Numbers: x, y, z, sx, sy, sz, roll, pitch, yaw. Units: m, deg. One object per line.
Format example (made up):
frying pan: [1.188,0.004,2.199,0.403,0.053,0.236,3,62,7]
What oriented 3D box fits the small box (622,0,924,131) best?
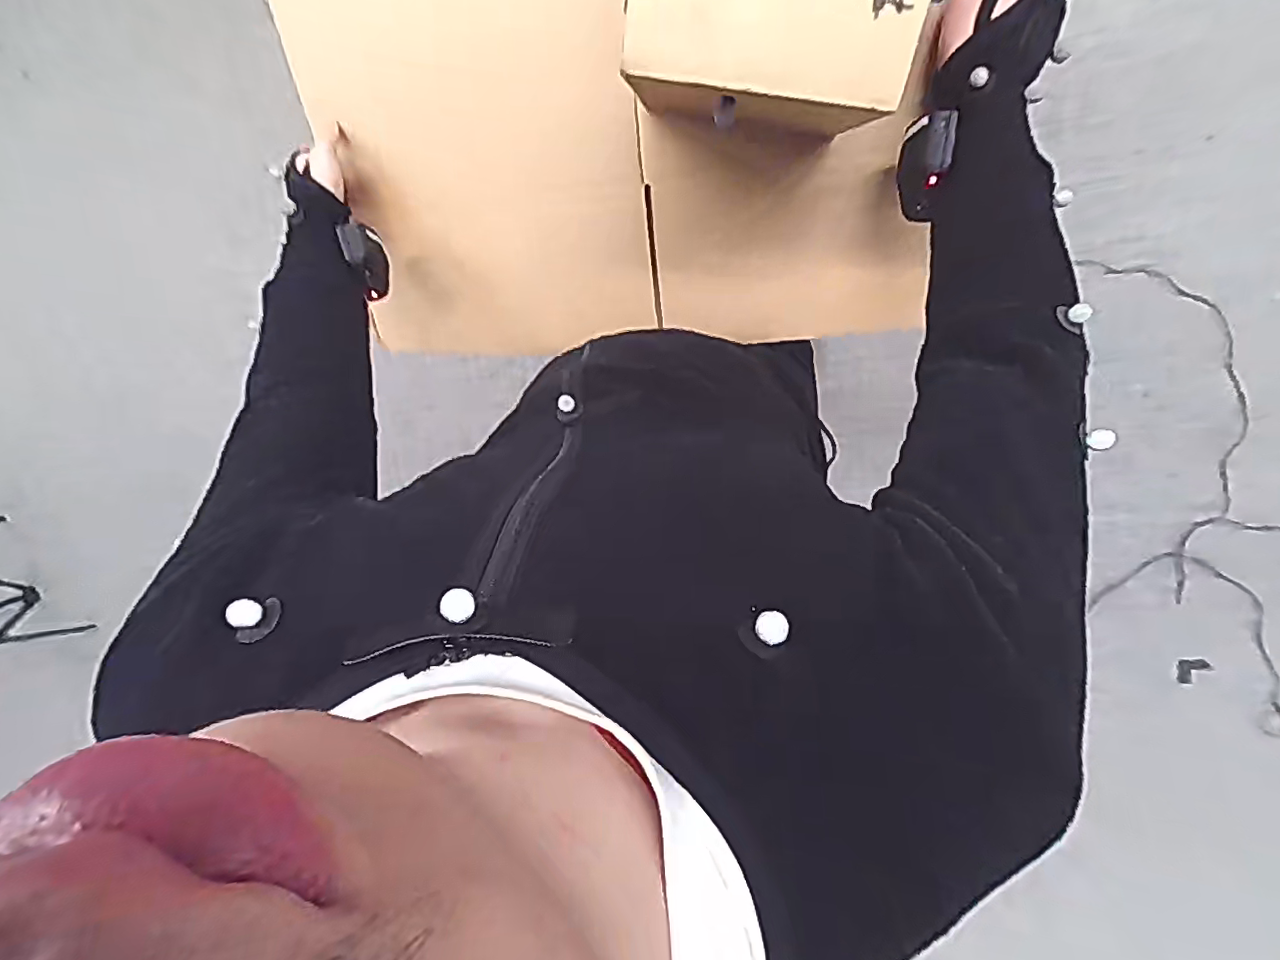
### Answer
small box: [0.094,-0.355,0.374,0.179,0.176,0.168,10,119,2]
